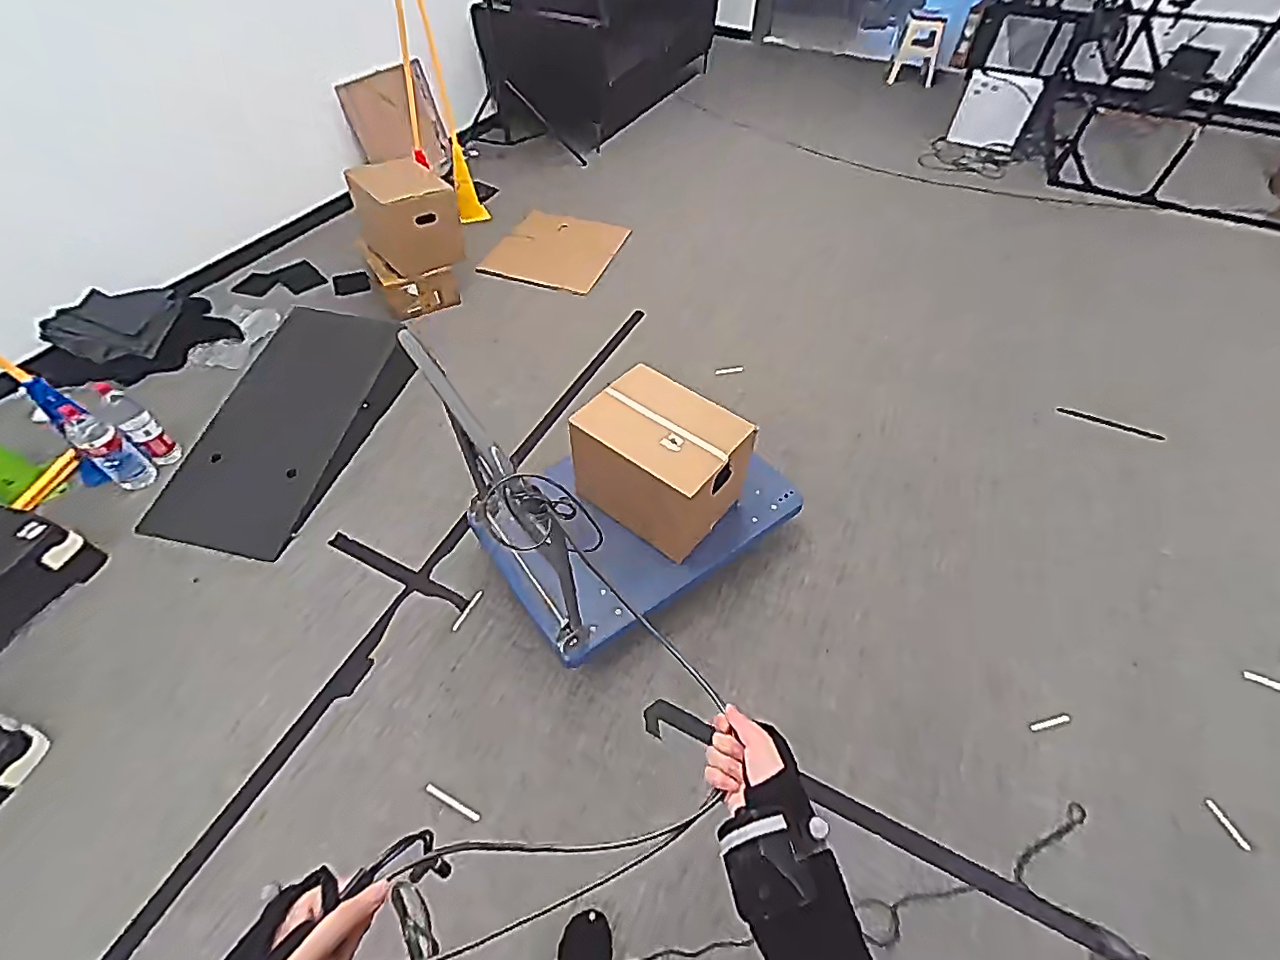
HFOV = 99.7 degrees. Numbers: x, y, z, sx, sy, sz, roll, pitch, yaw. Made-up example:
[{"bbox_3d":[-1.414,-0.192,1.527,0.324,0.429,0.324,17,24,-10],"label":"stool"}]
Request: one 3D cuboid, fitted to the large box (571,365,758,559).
[{"bbox_3d":[0.056,-0.054,1.531,0.408,0.320,0.320,33,58,21],"label":"large box"}]
